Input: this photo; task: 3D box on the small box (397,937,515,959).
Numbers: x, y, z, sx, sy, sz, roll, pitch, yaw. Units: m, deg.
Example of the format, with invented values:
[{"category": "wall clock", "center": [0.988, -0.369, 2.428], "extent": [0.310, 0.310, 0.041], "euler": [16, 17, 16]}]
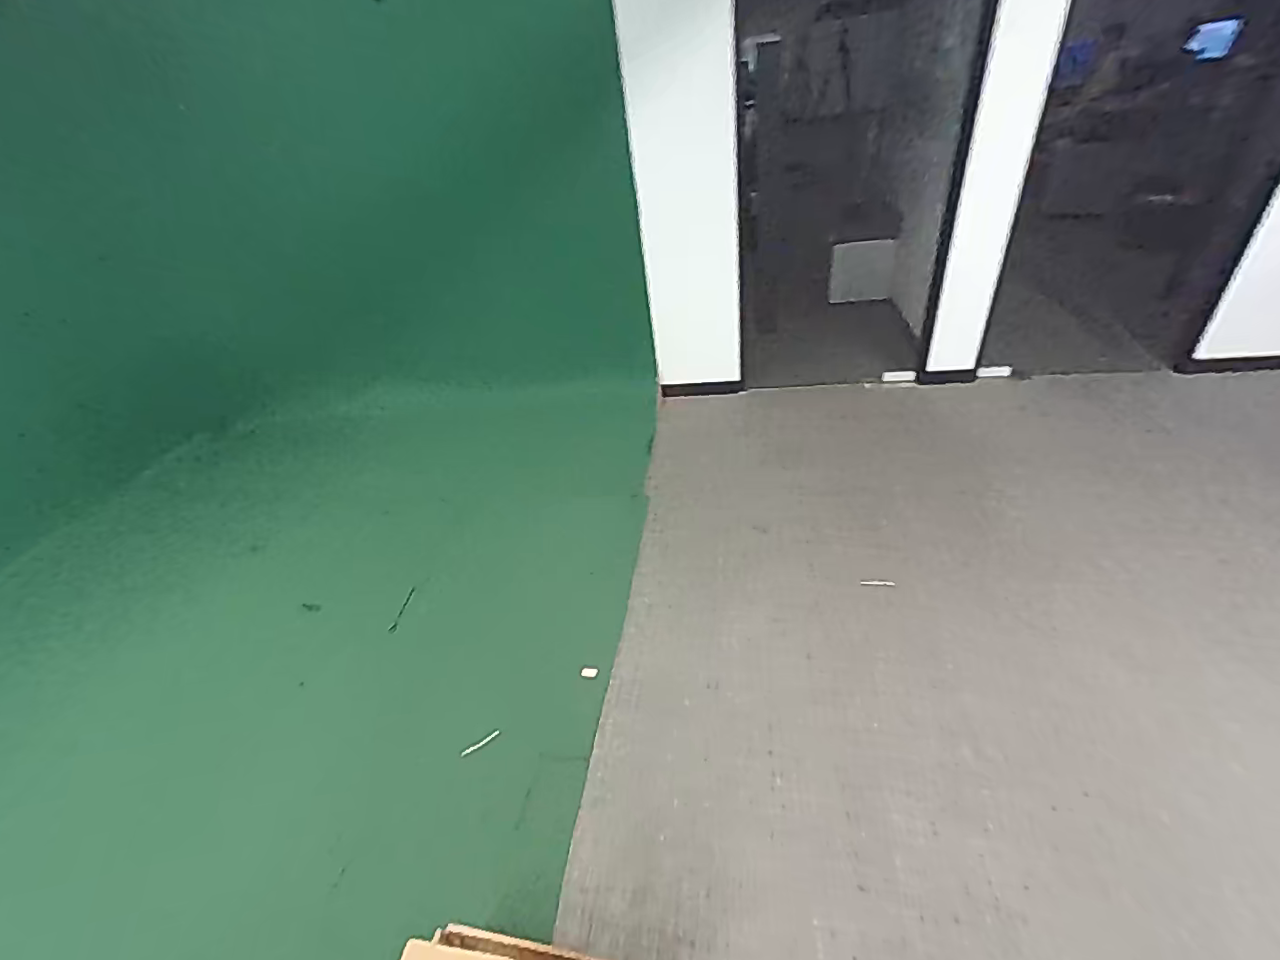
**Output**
[{"category": "small box", "center": [-0.263, 0.787, 0.764], "extent": [0.179, 0.176, 0.168], "euler": [0, 38, 12]}]
